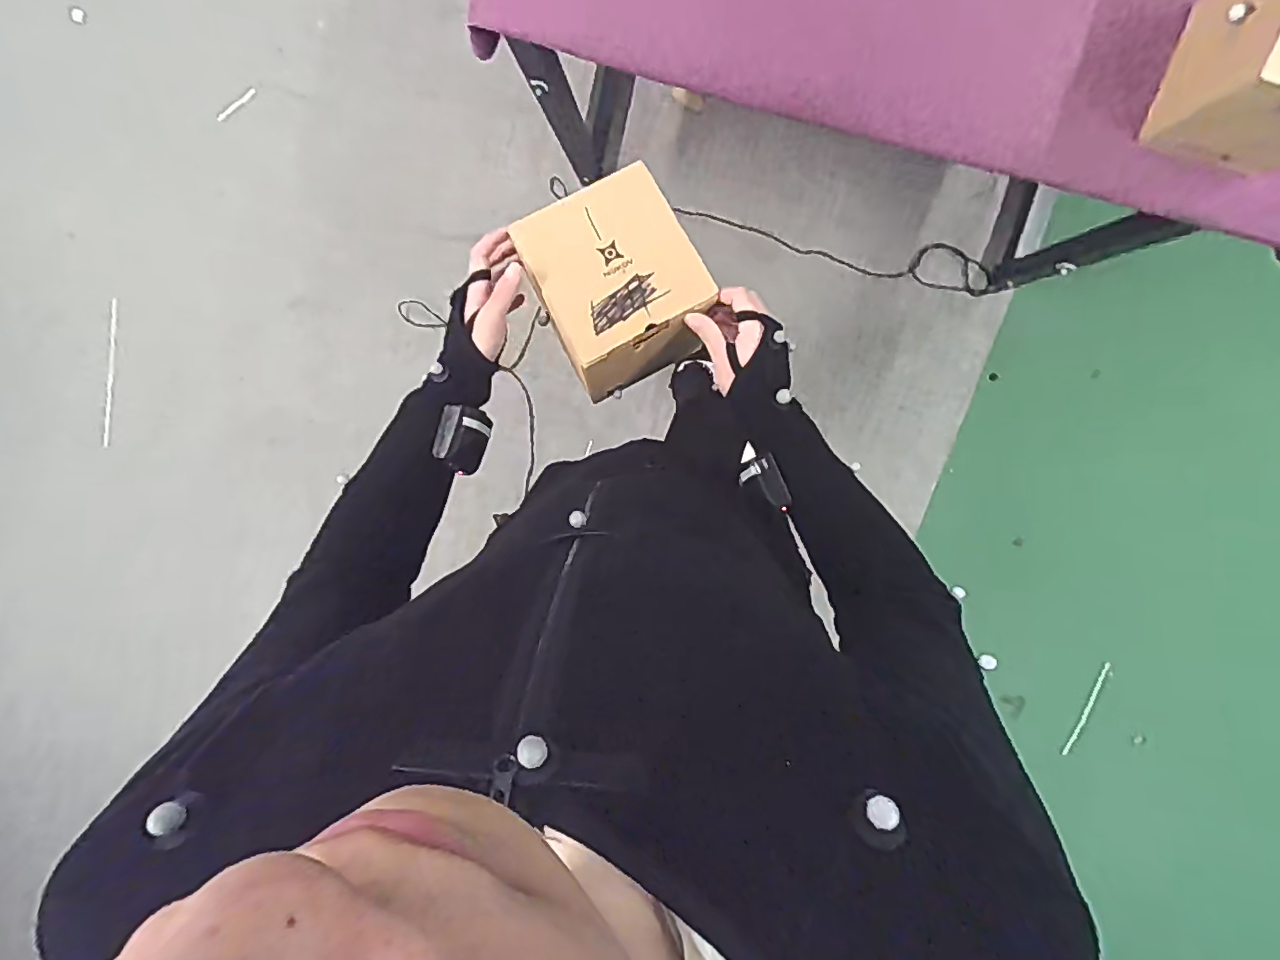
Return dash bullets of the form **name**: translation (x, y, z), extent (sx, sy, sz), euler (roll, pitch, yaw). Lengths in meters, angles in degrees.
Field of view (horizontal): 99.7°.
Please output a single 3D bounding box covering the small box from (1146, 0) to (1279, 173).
- **small box**: translation (0.760, -0.496, 0.628), extent (0.168, 0.176, 0.179), euler (17, 102, 4)
